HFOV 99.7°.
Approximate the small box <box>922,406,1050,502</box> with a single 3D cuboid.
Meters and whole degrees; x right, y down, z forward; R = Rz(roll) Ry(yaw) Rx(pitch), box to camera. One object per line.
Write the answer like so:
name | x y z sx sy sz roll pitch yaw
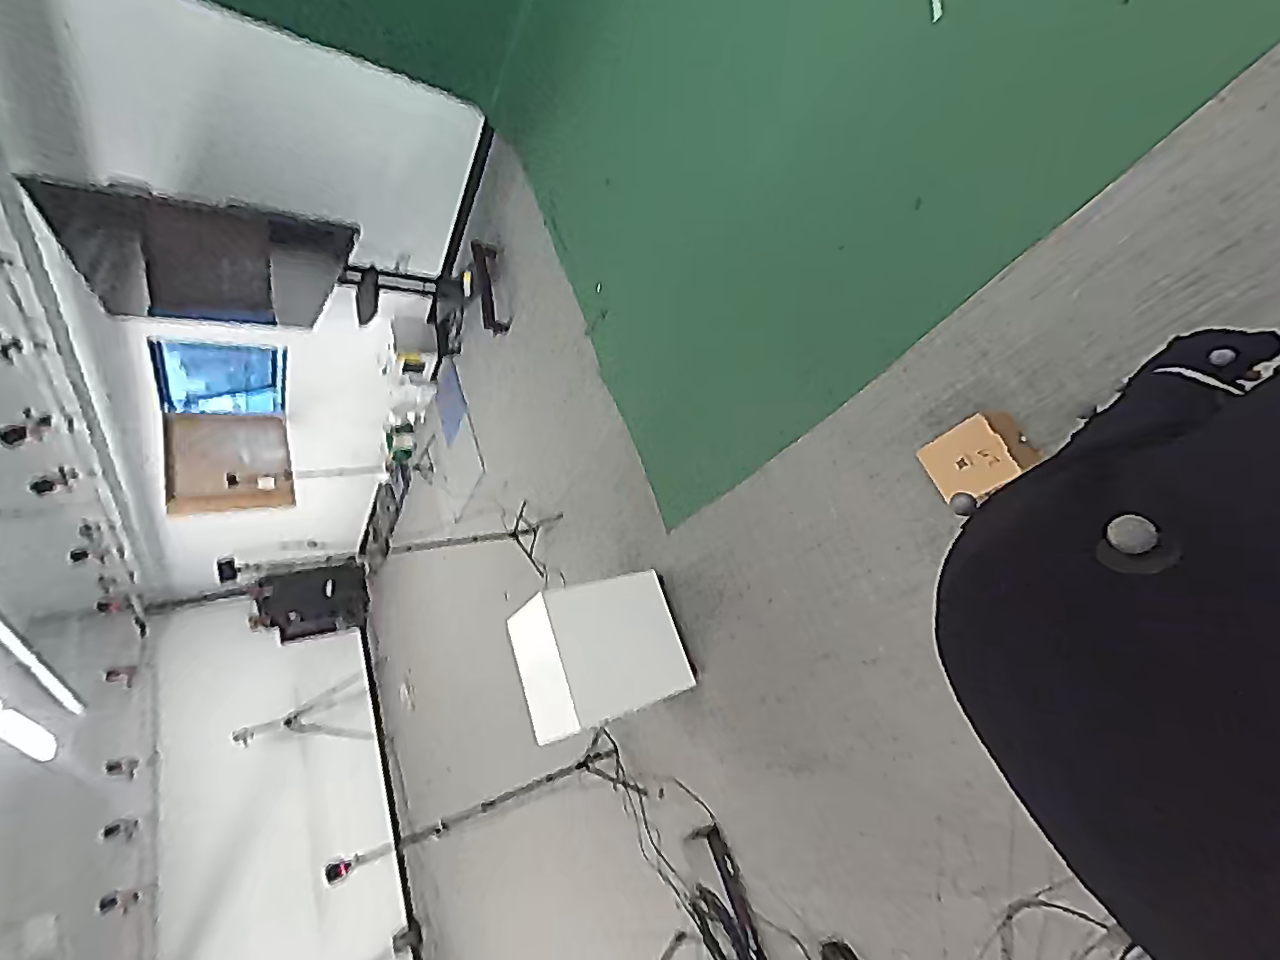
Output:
small box | 0.836 -0.061 1.308 0.179 0.176 0.168 -45 58 44
